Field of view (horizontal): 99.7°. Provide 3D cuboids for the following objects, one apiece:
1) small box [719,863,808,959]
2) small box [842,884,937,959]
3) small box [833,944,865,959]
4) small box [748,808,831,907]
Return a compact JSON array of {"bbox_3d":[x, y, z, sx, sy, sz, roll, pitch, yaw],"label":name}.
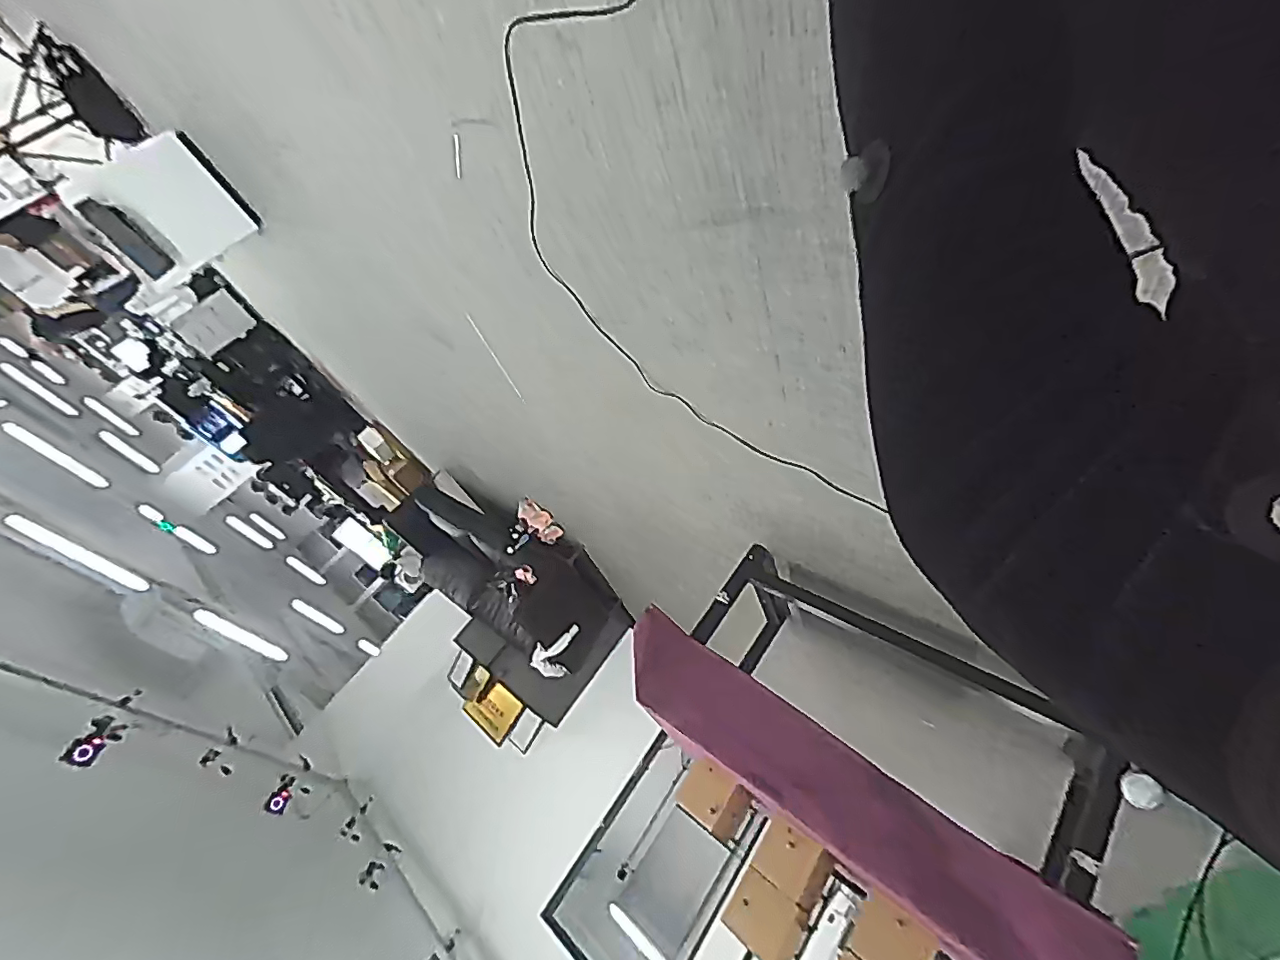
[{"bbox_3d":[0.367,1.269,1.596,0.179,0.176,0.168,18,151,43],"label":"small box"},{"bbox_3d":[0.677,1.237,1.465,0.179,0.176,0.168,21,152,40],"label":"small box"},{"bbox_3d":[0.577,1.354,1.407,0.179,0.176,0.168,20,151,40],"label":"small box"},{"bbox_3d":[0.464,1.154,1.659,0.168,0.176,0.179,17,148,45],"label":"small box"}]
